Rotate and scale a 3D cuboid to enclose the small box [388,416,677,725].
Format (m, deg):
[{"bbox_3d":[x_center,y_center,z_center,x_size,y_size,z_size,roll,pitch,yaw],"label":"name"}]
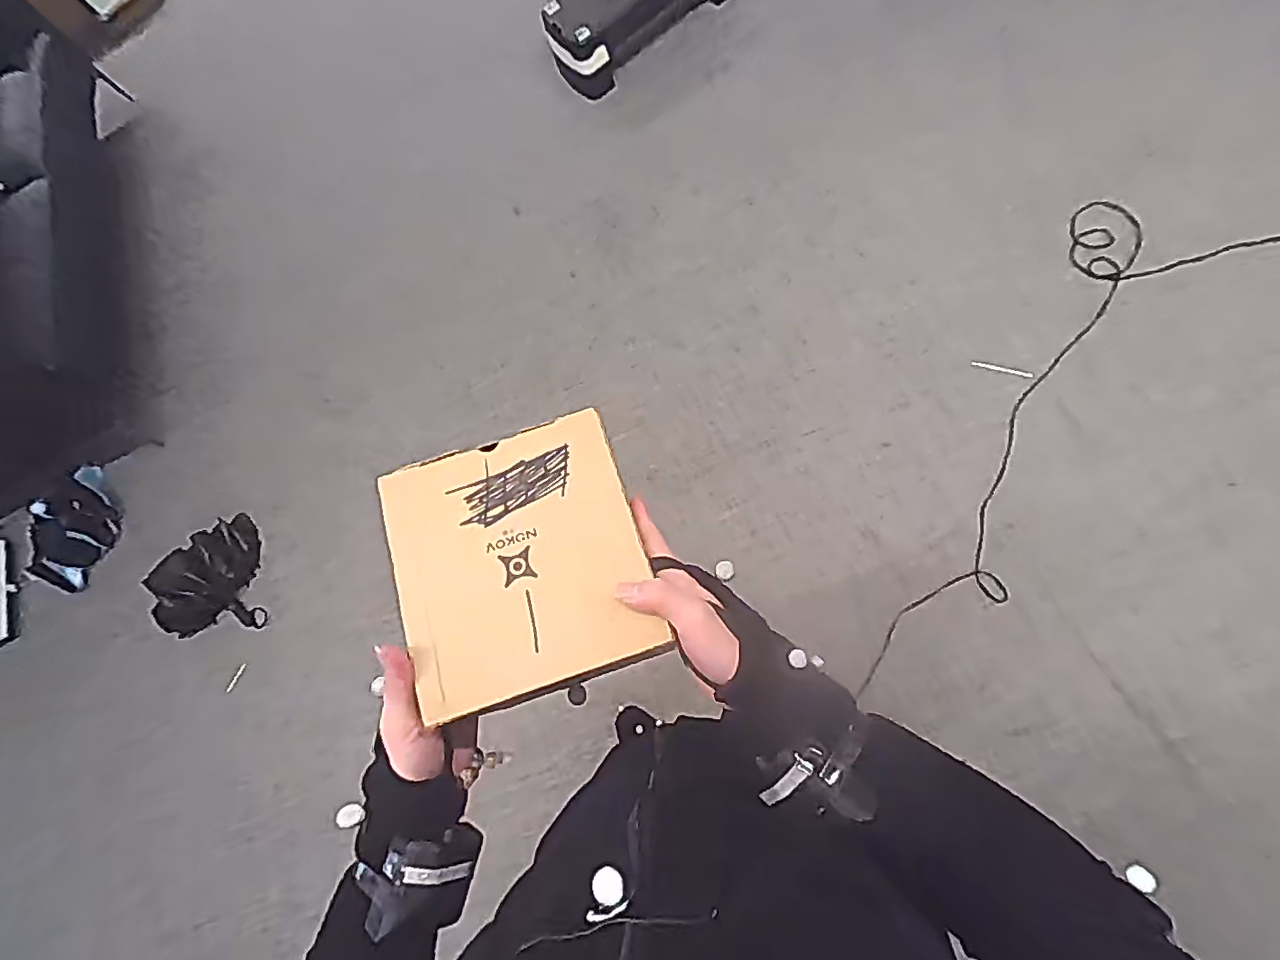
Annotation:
[{"bbox_3d":[-0.075,0.079,0.442,0.168,0.176,0.179,-19,71,-2],"label":"small box"}]
